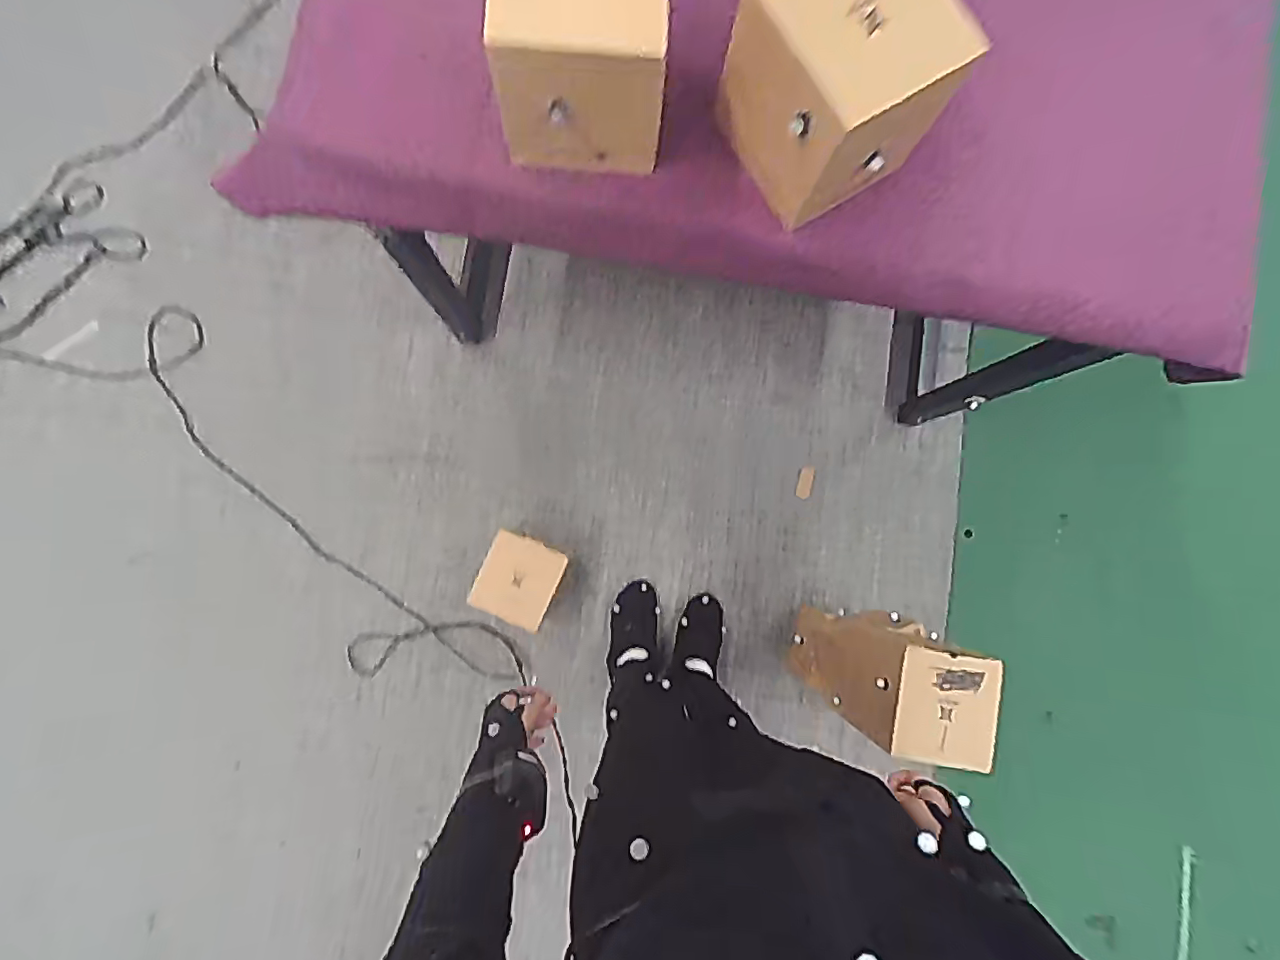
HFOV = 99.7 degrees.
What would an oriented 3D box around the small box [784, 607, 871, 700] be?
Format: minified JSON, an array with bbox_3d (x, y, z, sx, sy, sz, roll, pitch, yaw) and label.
[{"bbox_3d":[0.456,0.403,1.252,0.179,0.176,0.168,20,84,-1],"label":"small box"}]

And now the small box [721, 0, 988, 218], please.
[{"bbox_3d":[0.211,-0.418,0.582,0.168,0.176,0.179,-31,86,-6],"label":"small box"}]

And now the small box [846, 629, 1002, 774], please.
[{"bbox_3d":[0.475,0.366,0.926,0.168,0.176,0.179,11,85,-3],"label":"small box"}]

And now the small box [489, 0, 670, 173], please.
[{"bbox_3d":[-0.055,-0.459,0.573,0.168,0.176,0.179,2,83,-3],"label":"small box"}]

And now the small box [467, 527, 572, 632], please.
[{"bbox_3d":[-0.263,0.218,1.231,0.168,0.176,0.179,25,85,0],"label":"small box"}]
